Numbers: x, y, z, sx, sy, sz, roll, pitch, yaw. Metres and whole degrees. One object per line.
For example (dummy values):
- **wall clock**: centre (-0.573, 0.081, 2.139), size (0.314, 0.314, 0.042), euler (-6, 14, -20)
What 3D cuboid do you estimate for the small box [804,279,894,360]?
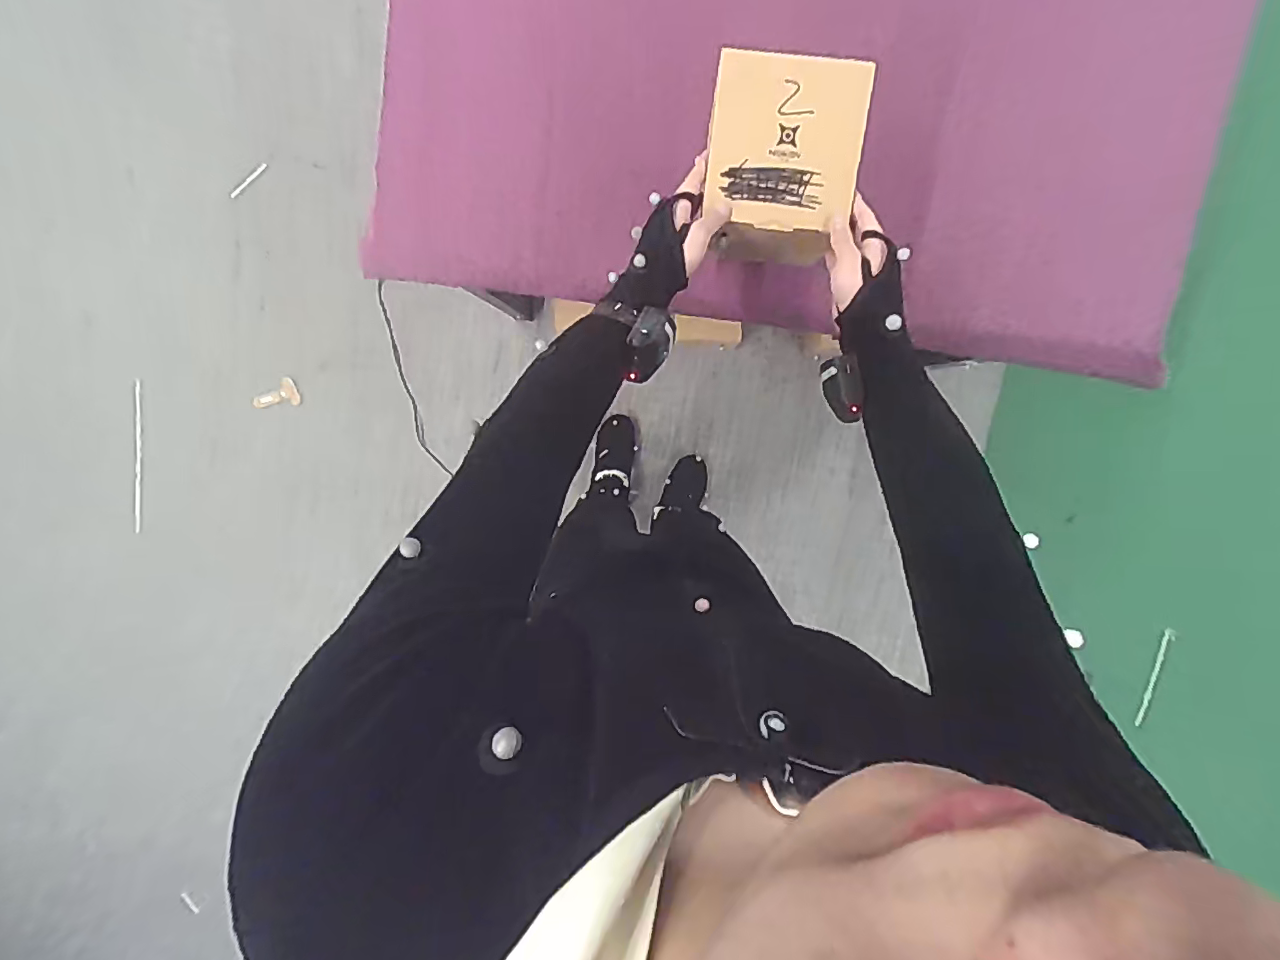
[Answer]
- **small box**: centre (0.544, -0.418, 1.432), size (0.168, 0.176, 0.179), euler (5, 97, 1)

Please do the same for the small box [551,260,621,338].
- **small box**: centre (-0.139, -0.479, 1.451), size (0.168, 0.176, 0.179), euler (0, 97, 2)

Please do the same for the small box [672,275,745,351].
- **small box**: centre (0.176, -0.441, 1.445), size (0.179, 0.176, 0.168), euler (2, 97, 3)
